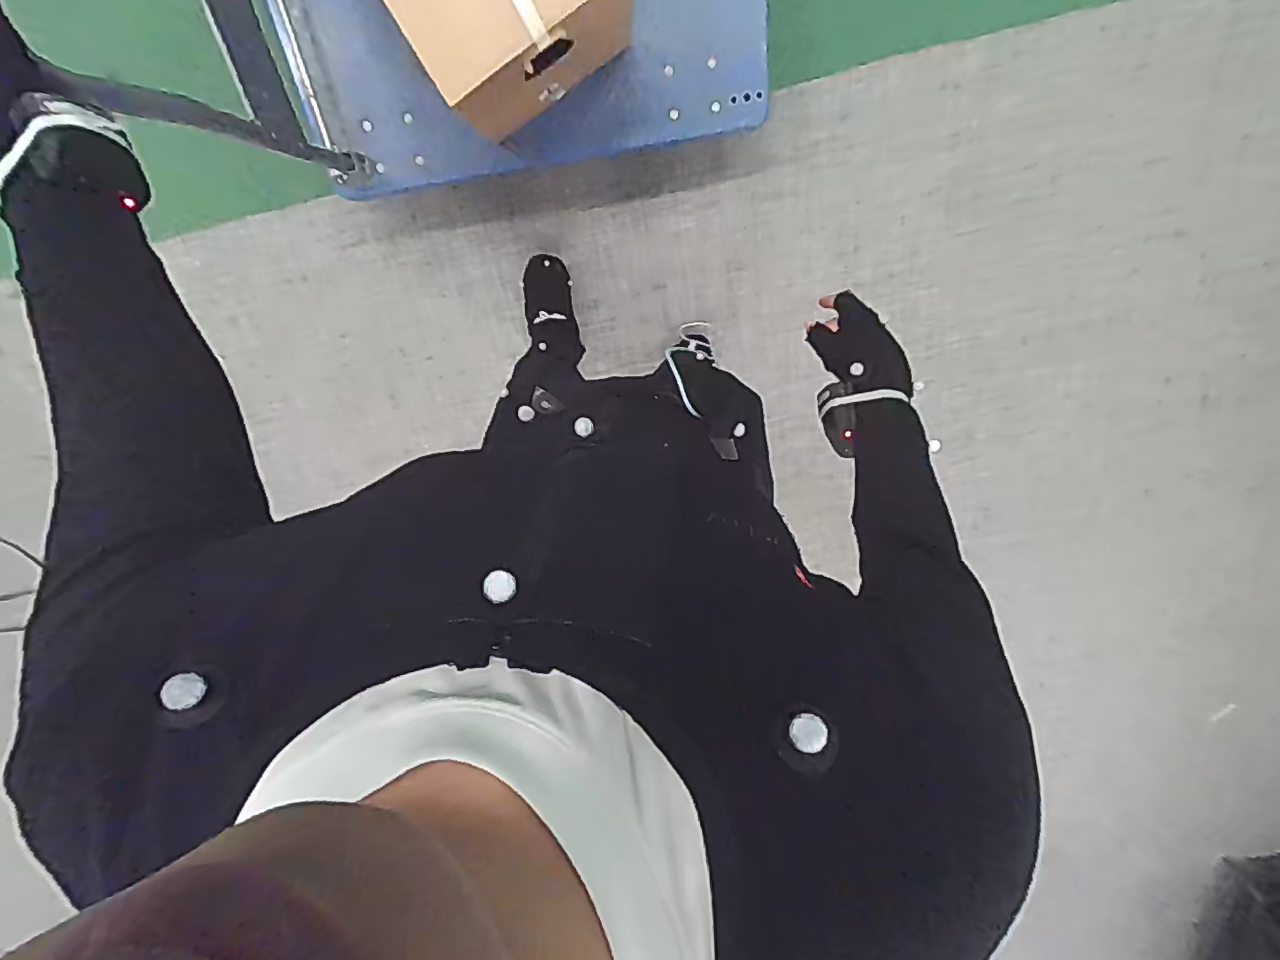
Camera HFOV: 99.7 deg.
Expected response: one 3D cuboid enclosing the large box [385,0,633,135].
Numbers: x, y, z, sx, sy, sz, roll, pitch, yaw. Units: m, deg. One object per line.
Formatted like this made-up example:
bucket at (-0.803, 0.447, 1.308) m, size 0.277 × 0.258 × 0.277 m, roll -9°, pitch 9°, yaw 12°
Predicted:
large box at (-0.242, -0.825, 0.808) m, size 0.320 × 0.320 × 0.408 m, roll -29°, pitch 111°, yaw 11°
